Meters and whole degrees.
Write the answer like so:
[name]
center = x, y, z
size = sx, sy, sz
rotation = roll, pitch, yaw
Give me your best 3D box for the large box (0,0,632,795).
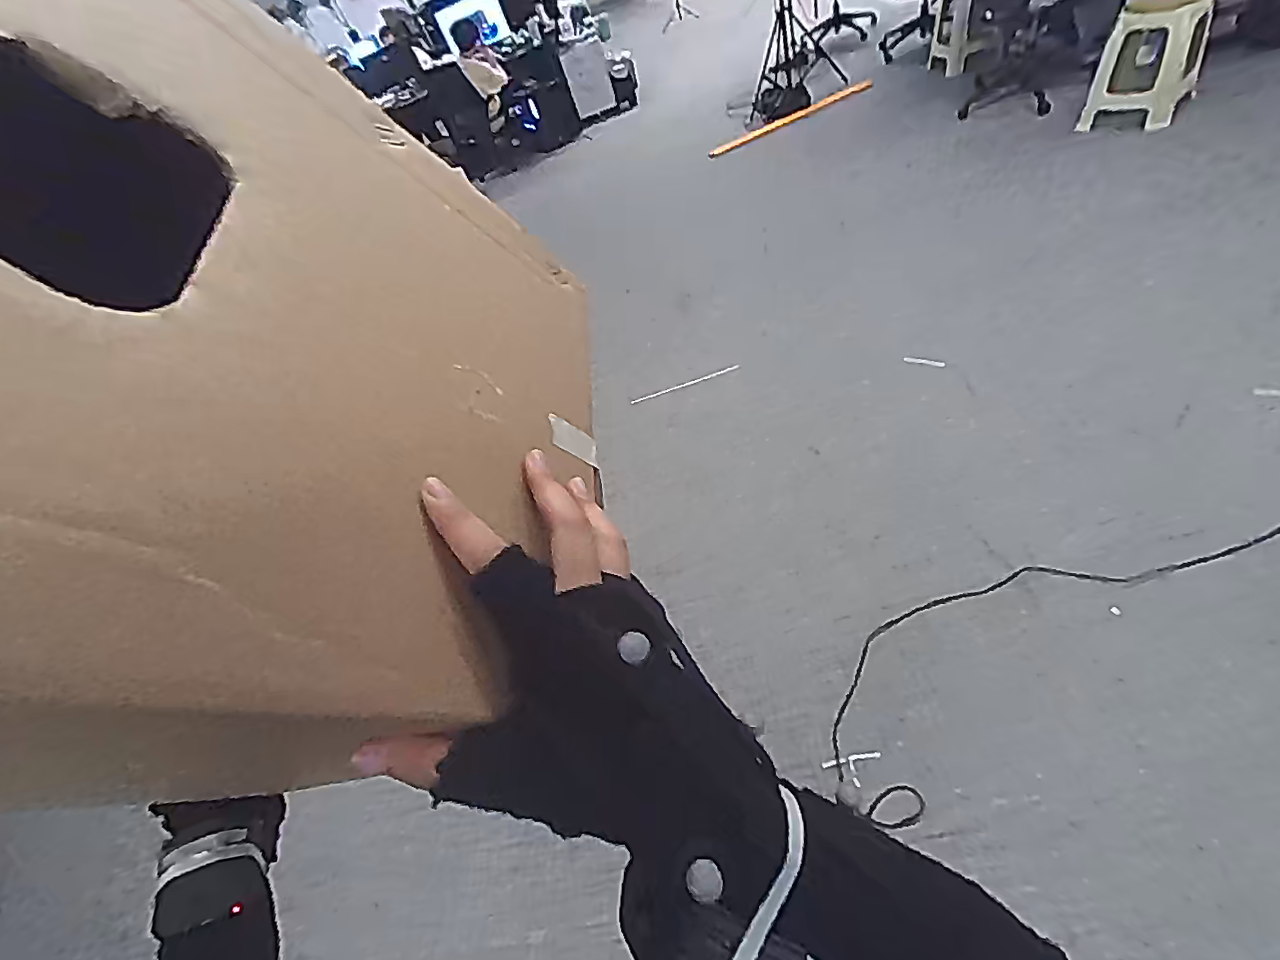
[large box]
center = -0.261, 0.002, 0.340
size = 0.408, 0.320, 0.320
rotation = -26, 55, 31
